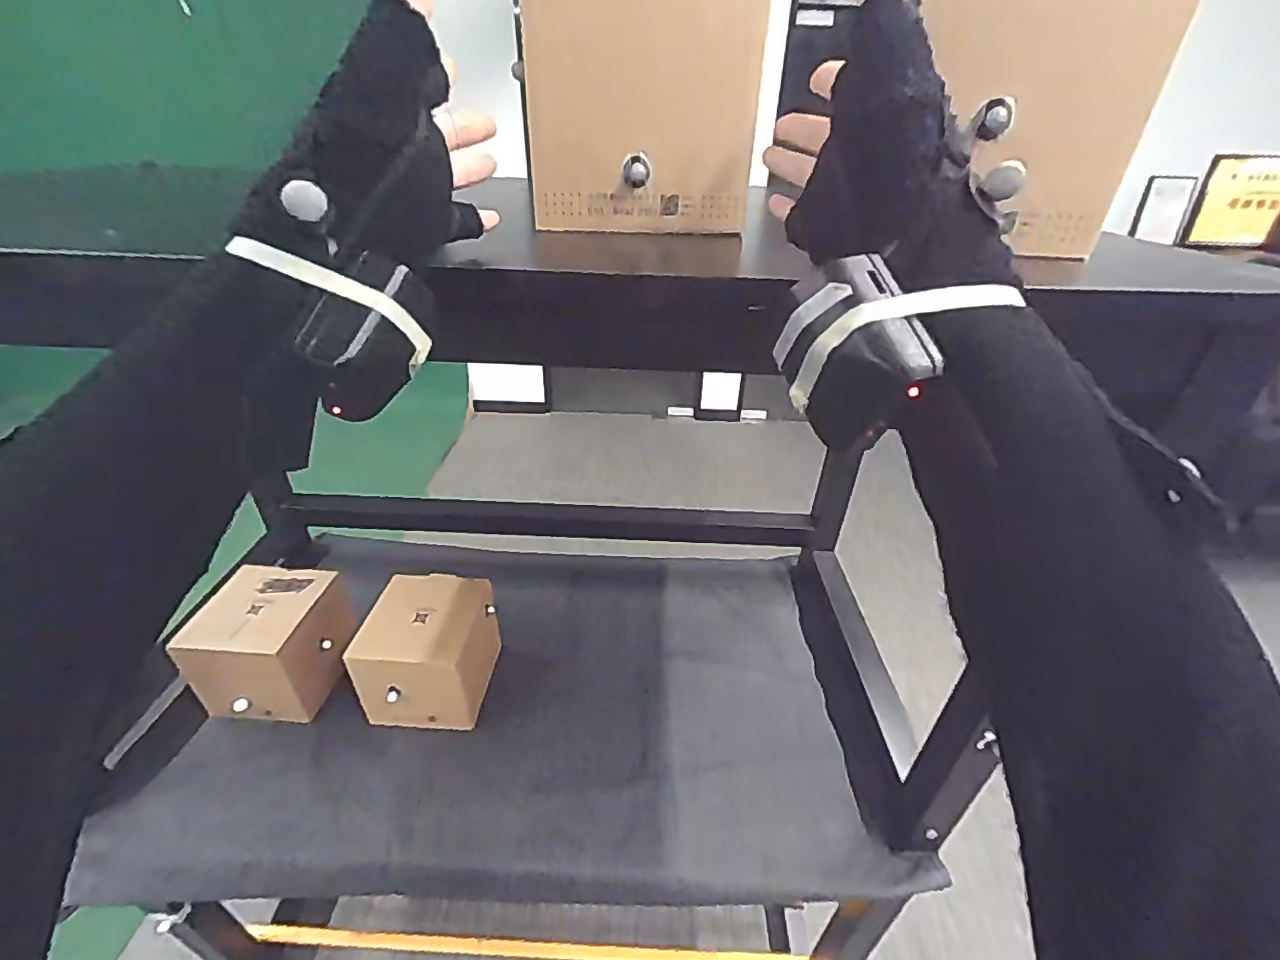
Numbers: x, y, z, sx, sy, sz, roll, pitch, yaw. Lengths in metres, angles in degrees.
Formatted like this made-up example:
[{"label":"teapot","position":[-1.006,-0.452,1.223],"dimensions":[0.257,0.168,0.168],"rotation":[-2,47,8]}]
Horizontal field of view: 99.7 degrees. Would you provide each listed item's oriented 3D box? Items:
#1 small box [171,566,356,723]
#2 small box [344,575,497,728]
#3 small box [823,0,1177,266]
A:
[{"label":"small box","position":[-0.594,0.265,0.886],"dimensions":[0.168,0.176,0.179],"rotation":[3,33,2]},{"label":"small box","position":[-0.341,0.280,0.884],"dimensions":[0.168,0.176,0.179],"rotation":[3,33,1]},{"label":"small box","position":[0.243,-0.270,0.414],"dimensions":[0.168,0.176,0.179],"rotation":[9,33,10]}]
